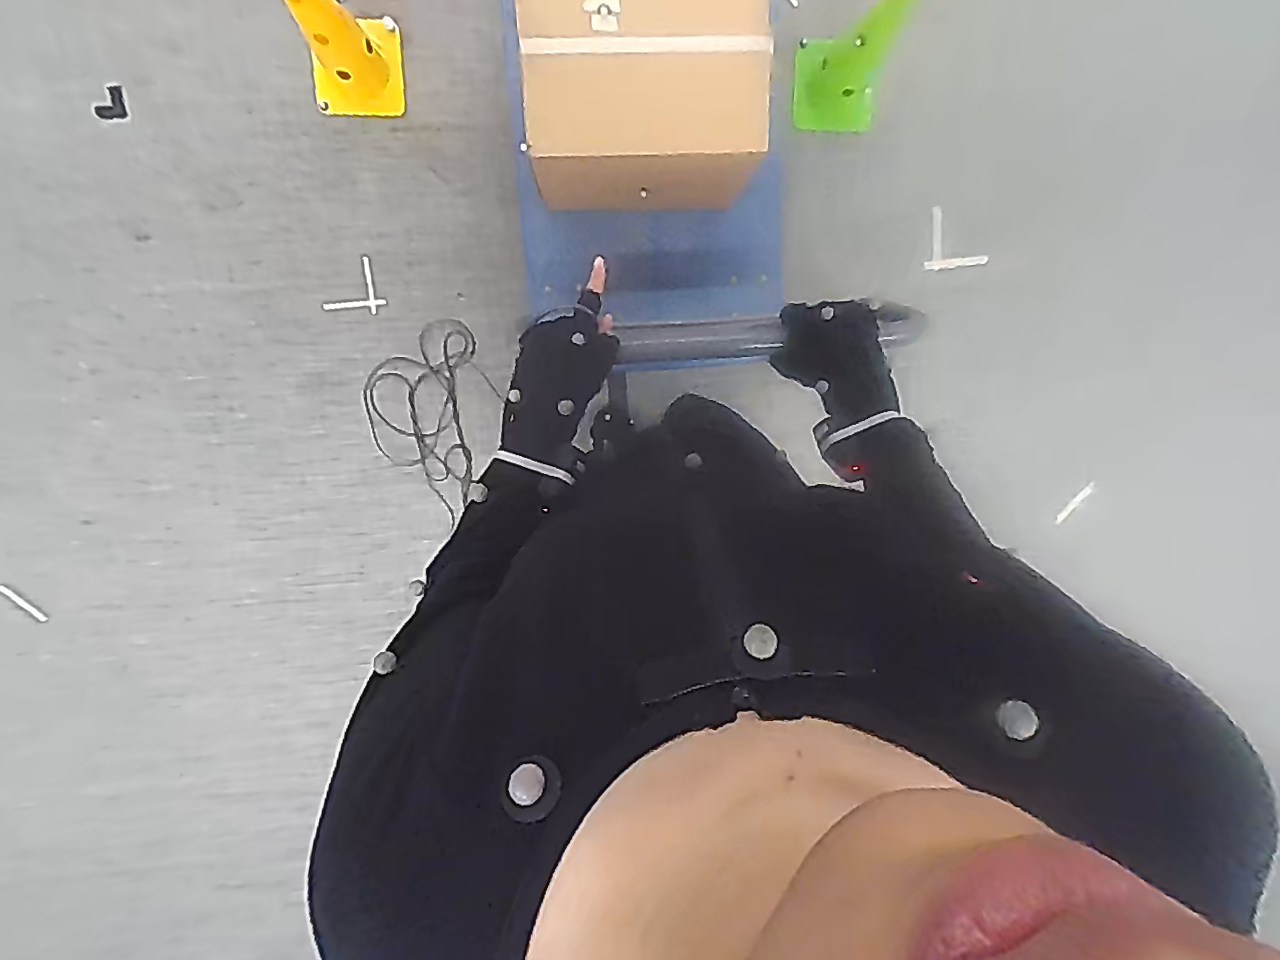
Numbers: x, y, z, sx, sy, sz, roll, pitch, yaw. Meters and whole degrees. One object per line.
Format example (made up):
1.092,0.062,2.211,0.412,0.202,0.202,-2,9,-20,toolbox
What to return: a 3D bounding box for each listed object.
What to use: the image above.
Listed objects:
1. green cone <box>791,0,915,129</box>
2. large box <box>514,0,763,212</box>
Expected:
0.486,-0.947,1.161,0.202,0.368,0.200,-1,100,-5,green cone
-0.004,-0.718,1.022,0.408,0.320,0.320,-3,101,-3,large box
